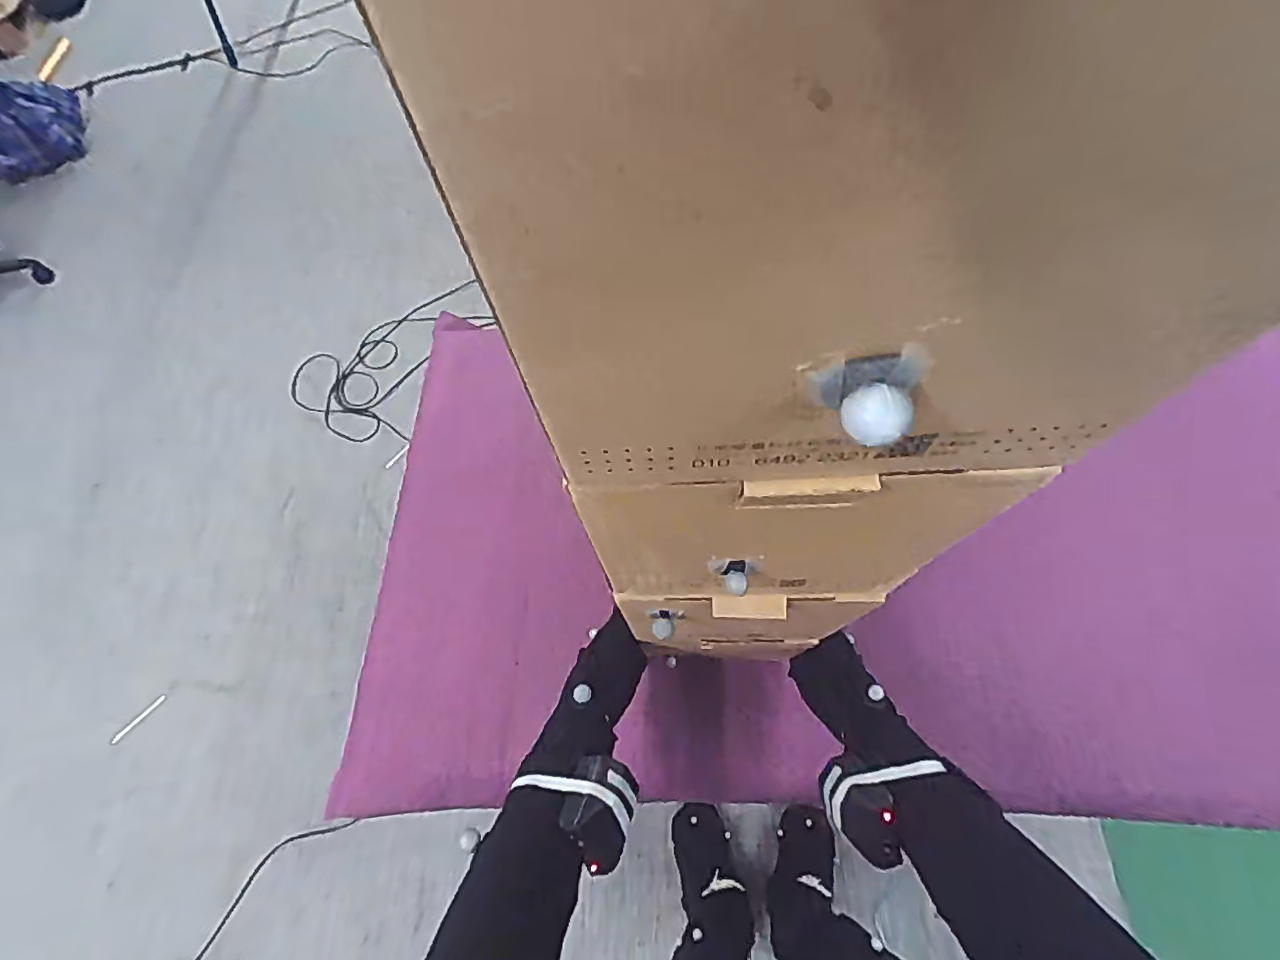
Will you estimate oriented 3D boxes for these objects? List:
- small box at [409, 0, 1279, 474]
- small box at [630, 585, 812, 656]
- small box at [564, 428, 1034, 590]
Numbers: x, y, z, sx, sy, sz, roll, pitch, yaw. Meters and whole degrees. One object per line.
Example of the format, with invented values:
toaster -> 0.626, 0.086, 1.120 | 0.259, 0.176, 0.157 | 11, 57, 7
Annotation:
small box -> 0.048, -0.116, 0.147 | 0.168, 0.176, 0.179 | -3, 66, 3
small box -> 0.083, 0.093, 0.591 | 0.168, 0.176, 0.179 | 1, 66, 5
small box -> 0.058, -0.046, 0.296 | 0.168, 0.176, 0.179 | -2, 66, 3
